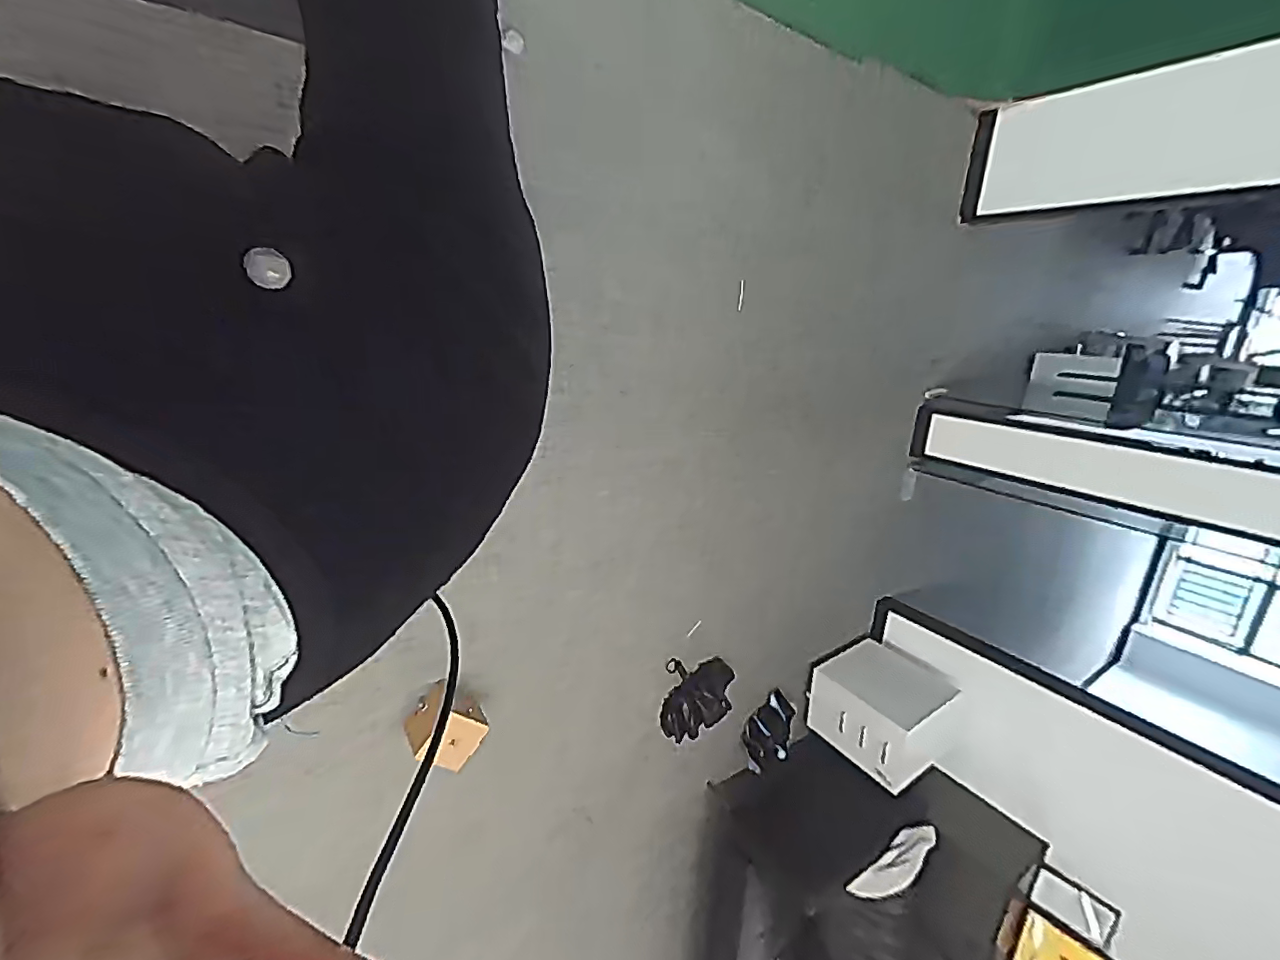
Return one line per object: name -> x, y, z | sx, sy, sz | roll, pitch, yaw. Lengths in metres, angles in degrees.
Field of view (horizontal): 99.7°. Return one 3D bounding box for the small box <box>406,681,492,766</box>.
small box -> -0.616, 0.777, 1.738 | 0.179, 0.176, 0.168 | 43, 78, -36
